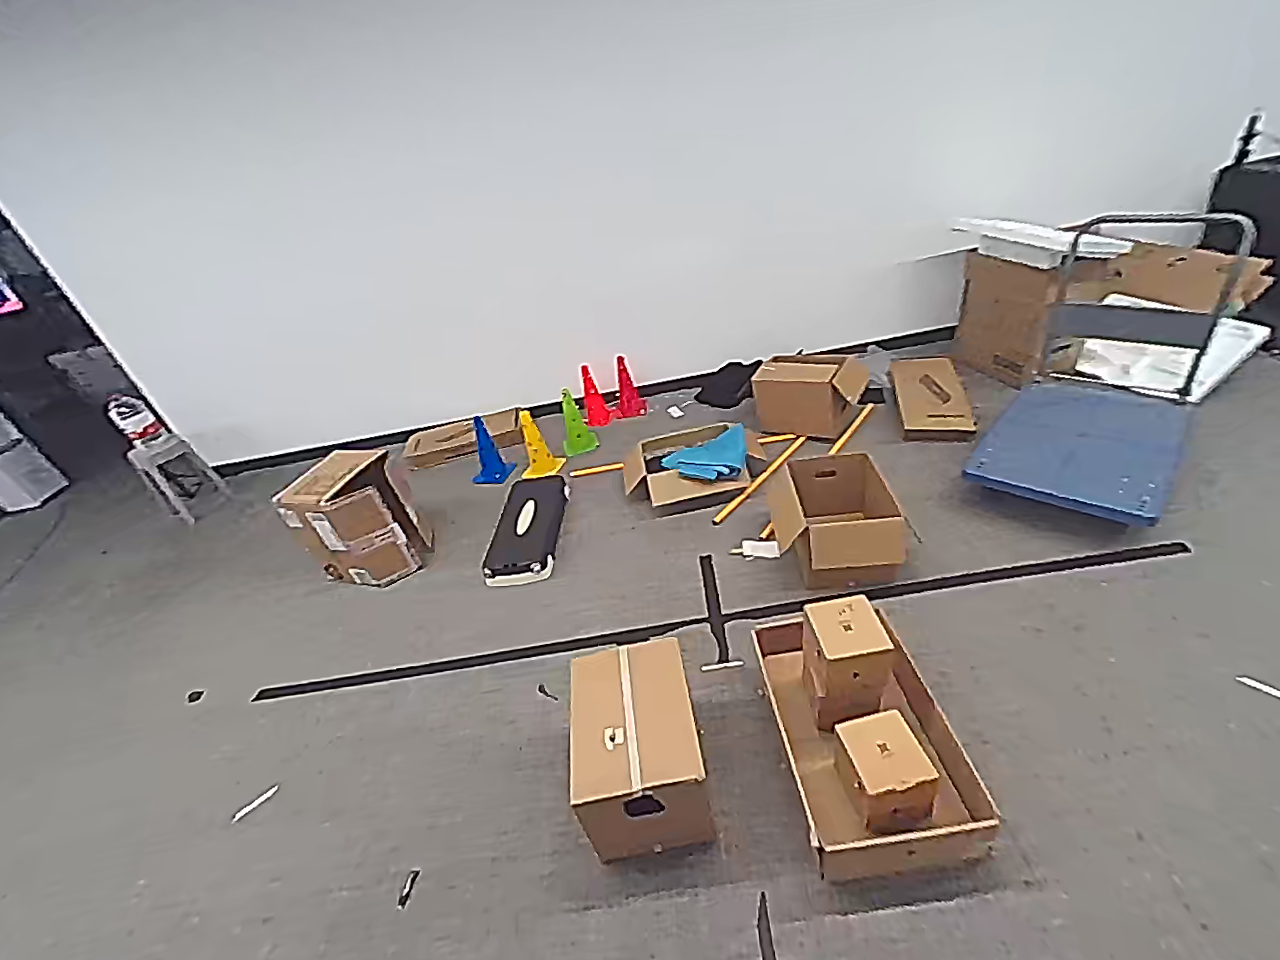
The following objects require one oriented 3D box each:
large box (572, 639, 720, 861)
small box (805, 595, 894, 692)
[{"bbox_3d":[0.009,0.707,1.443,0.320,0.320,0.408,-13,35,1],"label":"large box"},{"bbox_3d":[0.537,0.432,1.408,0.168,0.176,0.179,-10,36,2],"label":"small box"}]
